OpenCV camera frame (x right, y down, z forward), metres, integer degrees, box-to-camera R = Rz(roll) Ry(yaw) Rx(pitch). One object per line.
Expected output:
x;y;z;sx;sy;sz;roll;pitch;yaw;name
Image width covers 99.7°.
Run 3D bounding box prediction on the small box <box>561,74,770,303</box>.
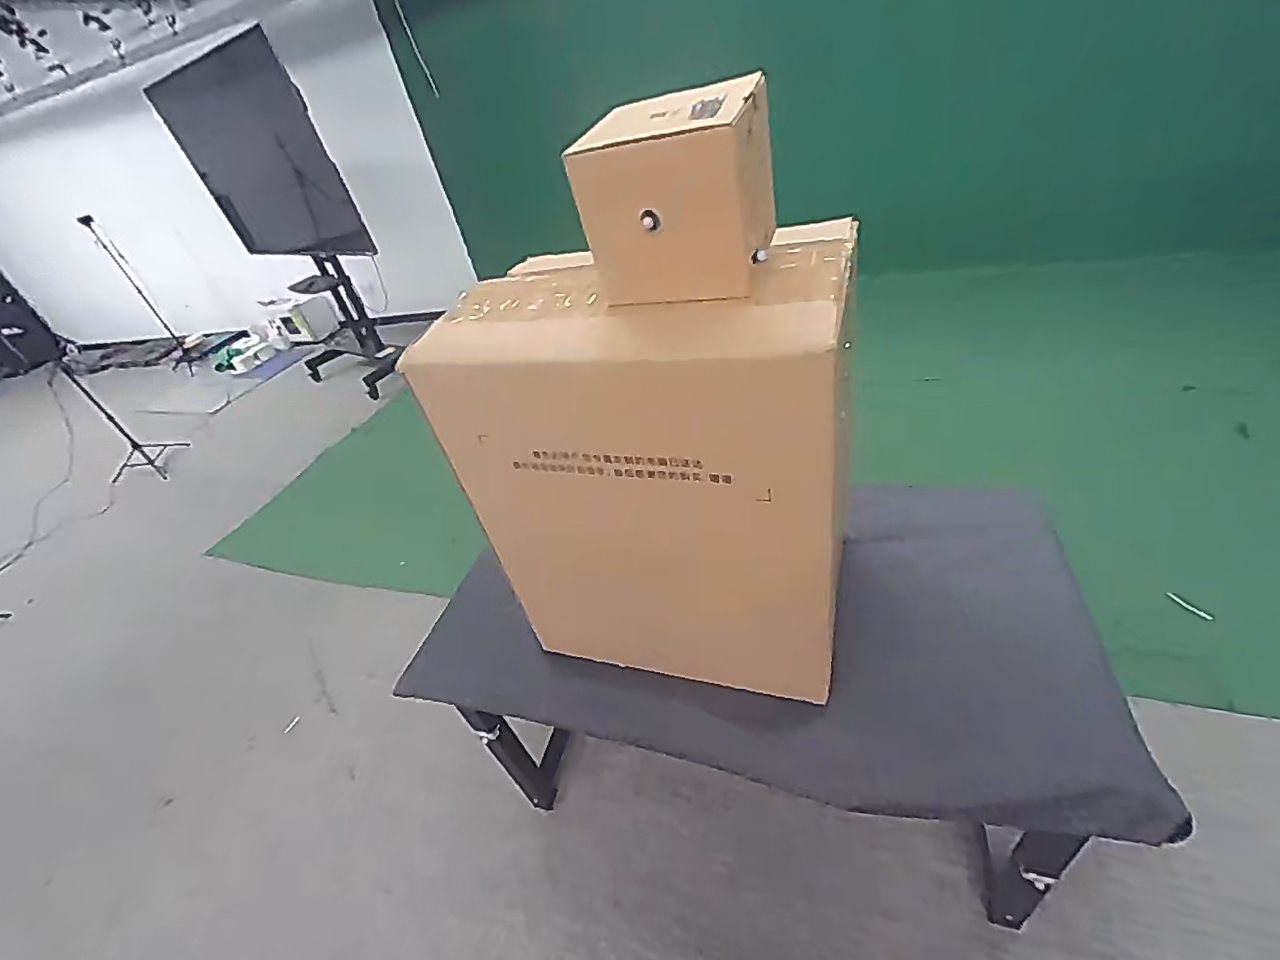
0.044;-0.317;0.607;0.179;0.176;0.168;4;48;23;small box
